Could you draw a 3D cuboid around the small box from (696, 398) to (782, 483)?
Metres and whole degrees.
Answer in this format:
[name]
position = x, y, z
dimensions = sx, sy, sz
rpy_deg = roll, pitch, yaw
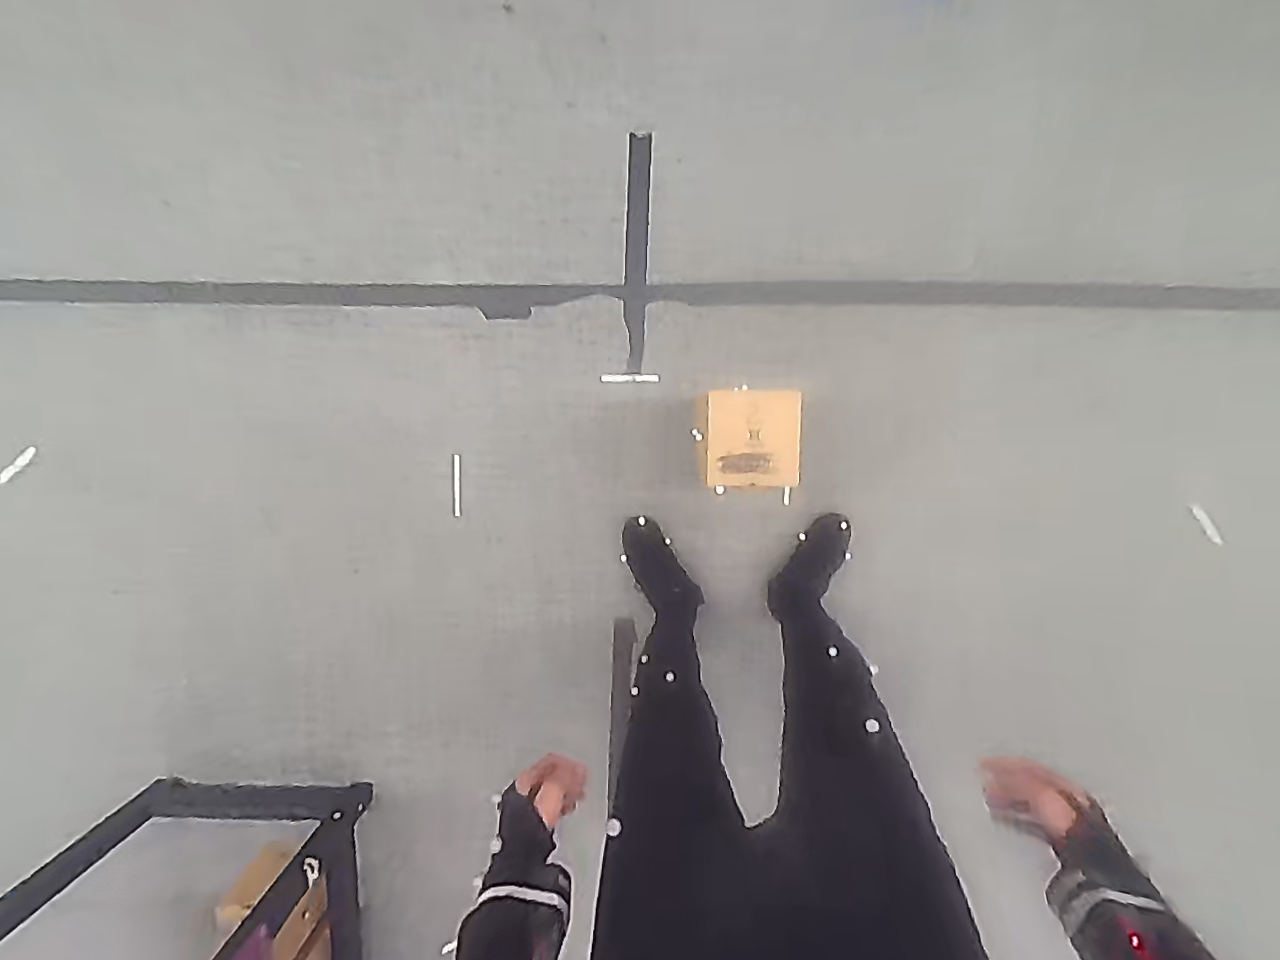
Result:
[small box]
position = 0.214, -0.091, 1.206
dimensions = 0.168, 0.176, 0.179
rpy_deg = -2, 98, 1
